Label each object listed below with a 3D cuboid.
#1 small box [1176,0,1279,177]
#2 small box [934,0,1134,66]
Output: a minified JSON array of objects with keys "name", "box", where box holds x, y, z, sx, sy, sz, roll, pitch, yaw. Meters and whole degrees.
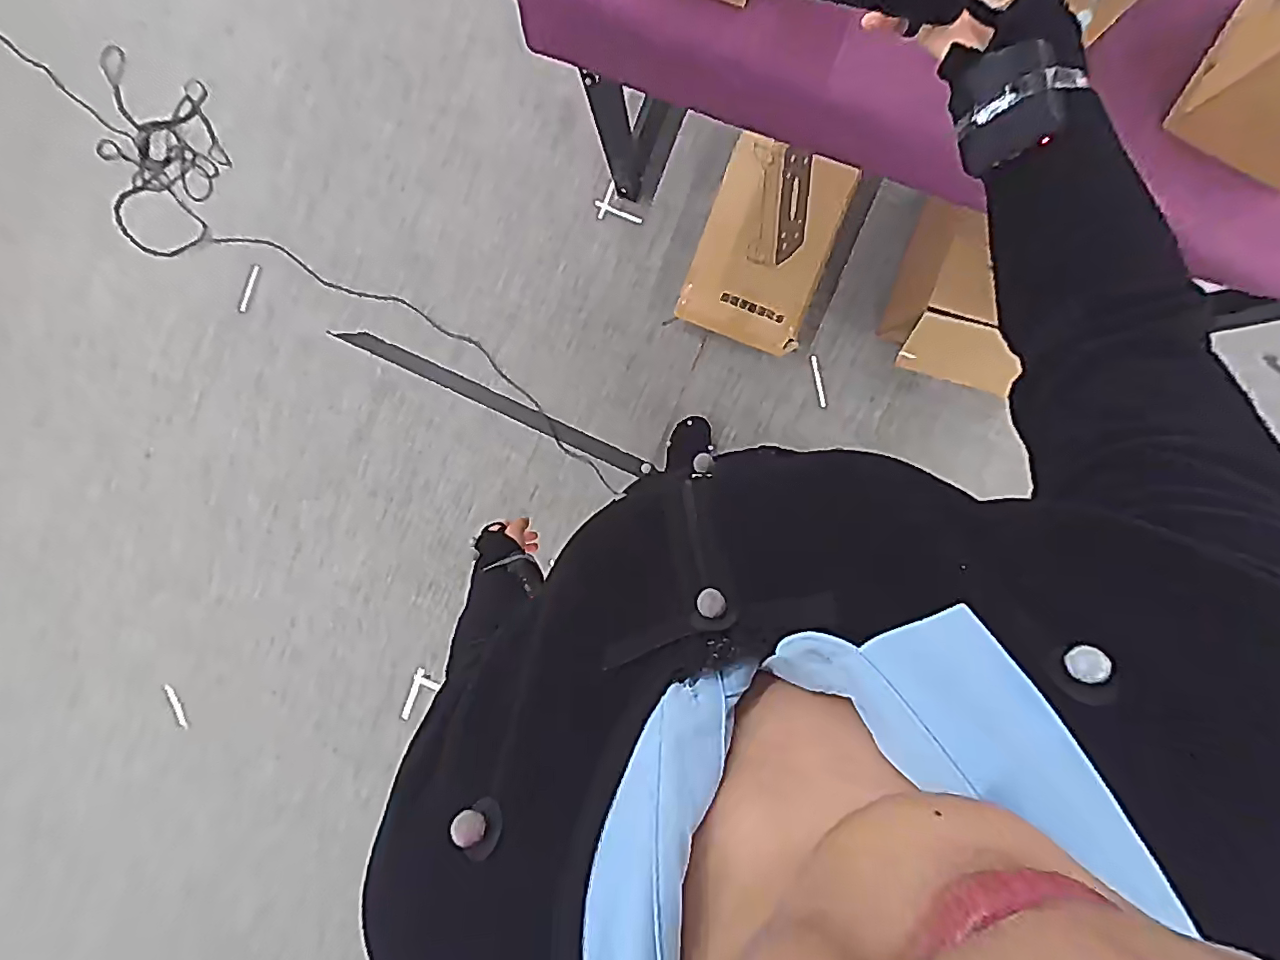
[{"name":"small box","box":[0.749,-0.458,0.569,0.179,0.176,0.168,29,97,2]},{"name":"small box","box":[0.464,-0.599,0.581,0.179,0.176,0.168,22,95,3]}]
